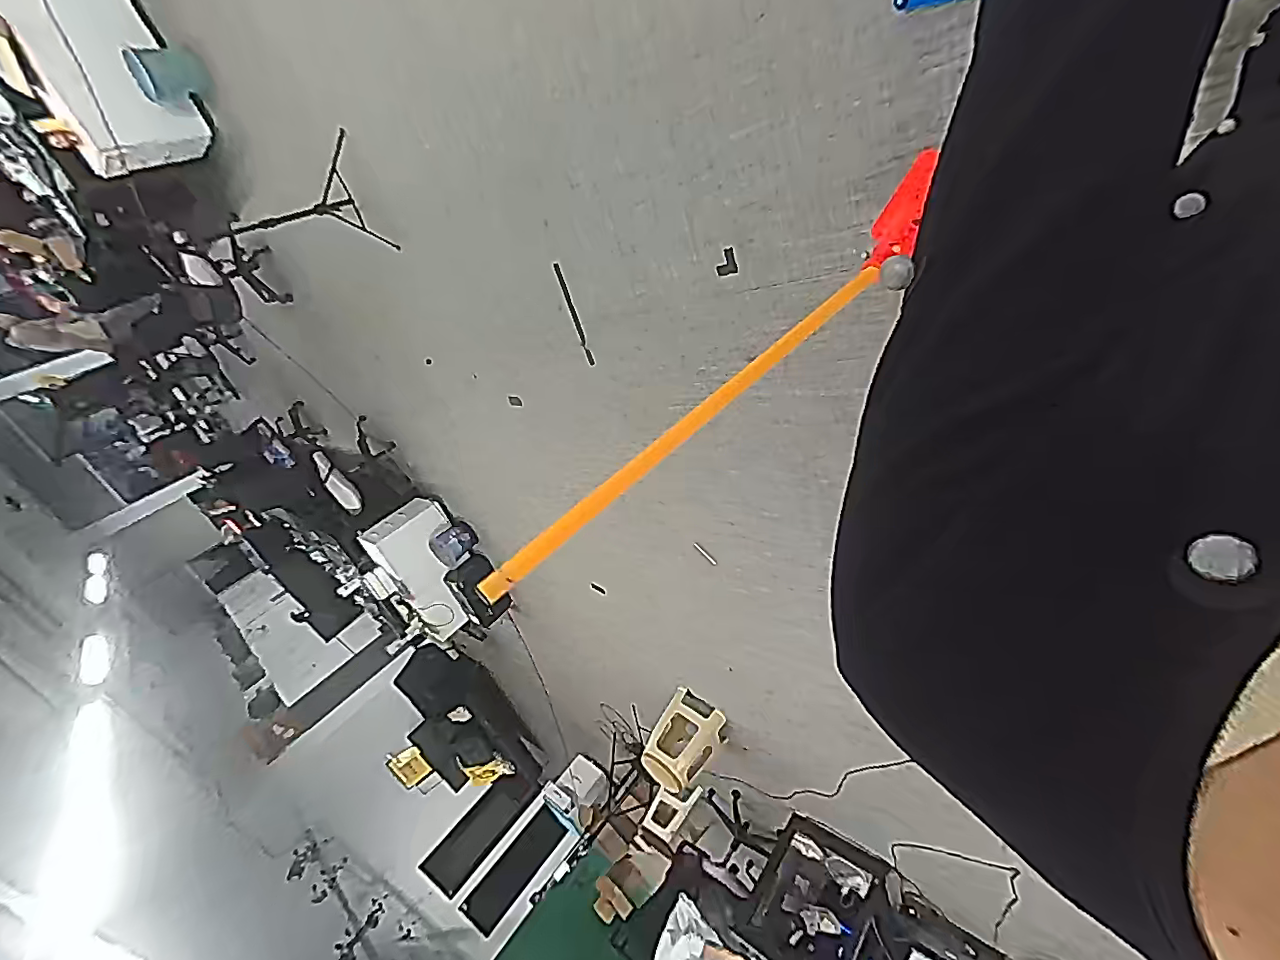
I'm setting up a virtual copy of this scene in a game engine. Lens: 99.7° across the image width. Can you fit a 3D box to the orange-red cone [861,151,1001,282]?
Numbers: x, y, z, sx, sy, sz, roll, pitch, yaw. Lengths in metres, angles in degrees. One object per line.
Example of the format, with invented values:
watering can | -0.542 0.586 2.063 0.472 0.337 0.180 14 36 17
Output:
orange-red cone | 0.504 -0.457 1.033 0.198 0.360 0.199 41 144 10
